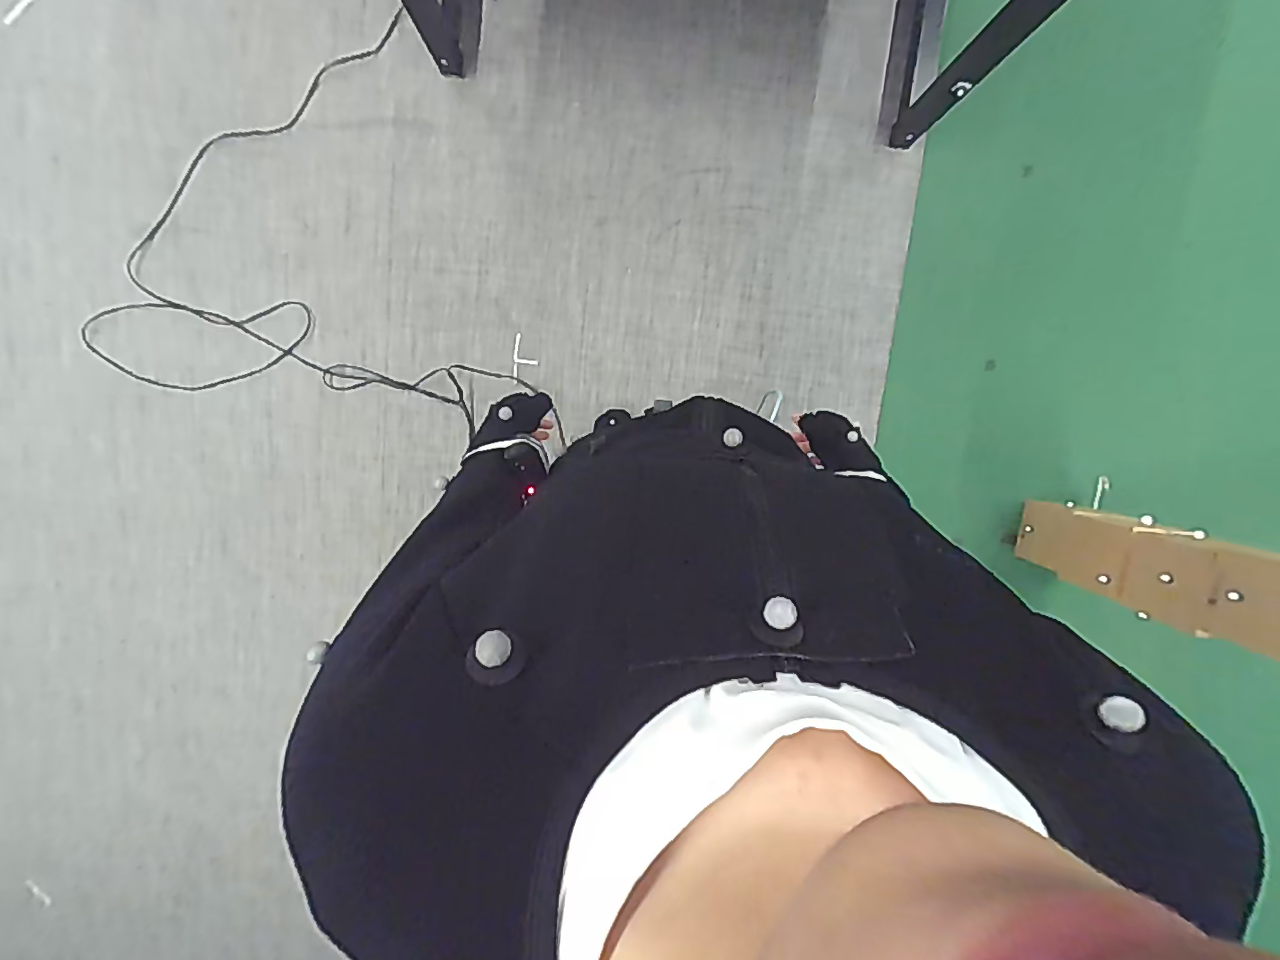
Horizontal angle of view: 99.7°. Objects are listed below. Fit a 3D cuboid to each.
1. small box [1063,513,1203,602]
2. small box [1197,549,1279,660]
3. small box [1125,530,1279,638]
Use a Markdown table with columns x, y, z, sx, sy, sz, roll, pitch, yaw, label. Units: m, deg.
| x | y | z | sx | sy | sz | roll | pitch | yaw | label |
| --- | --- | --- | --- | --- | --- | --- | --- | --- | --- |
| 1.155 | 0.182 | 1.282 | 0.168 | 0.176 | 0.179 | 6 | 99 | -2 | small box |
| 1.173 | 0.231 | 0.957 | 0.179 | 0.176 | 0.168 | 10 | 98 | -2 | small box |
| 1.166 | 0.213 | 1.120 | 0.168 | 0.176 | 0.179 | 5 | 98 | -2 | small box |
